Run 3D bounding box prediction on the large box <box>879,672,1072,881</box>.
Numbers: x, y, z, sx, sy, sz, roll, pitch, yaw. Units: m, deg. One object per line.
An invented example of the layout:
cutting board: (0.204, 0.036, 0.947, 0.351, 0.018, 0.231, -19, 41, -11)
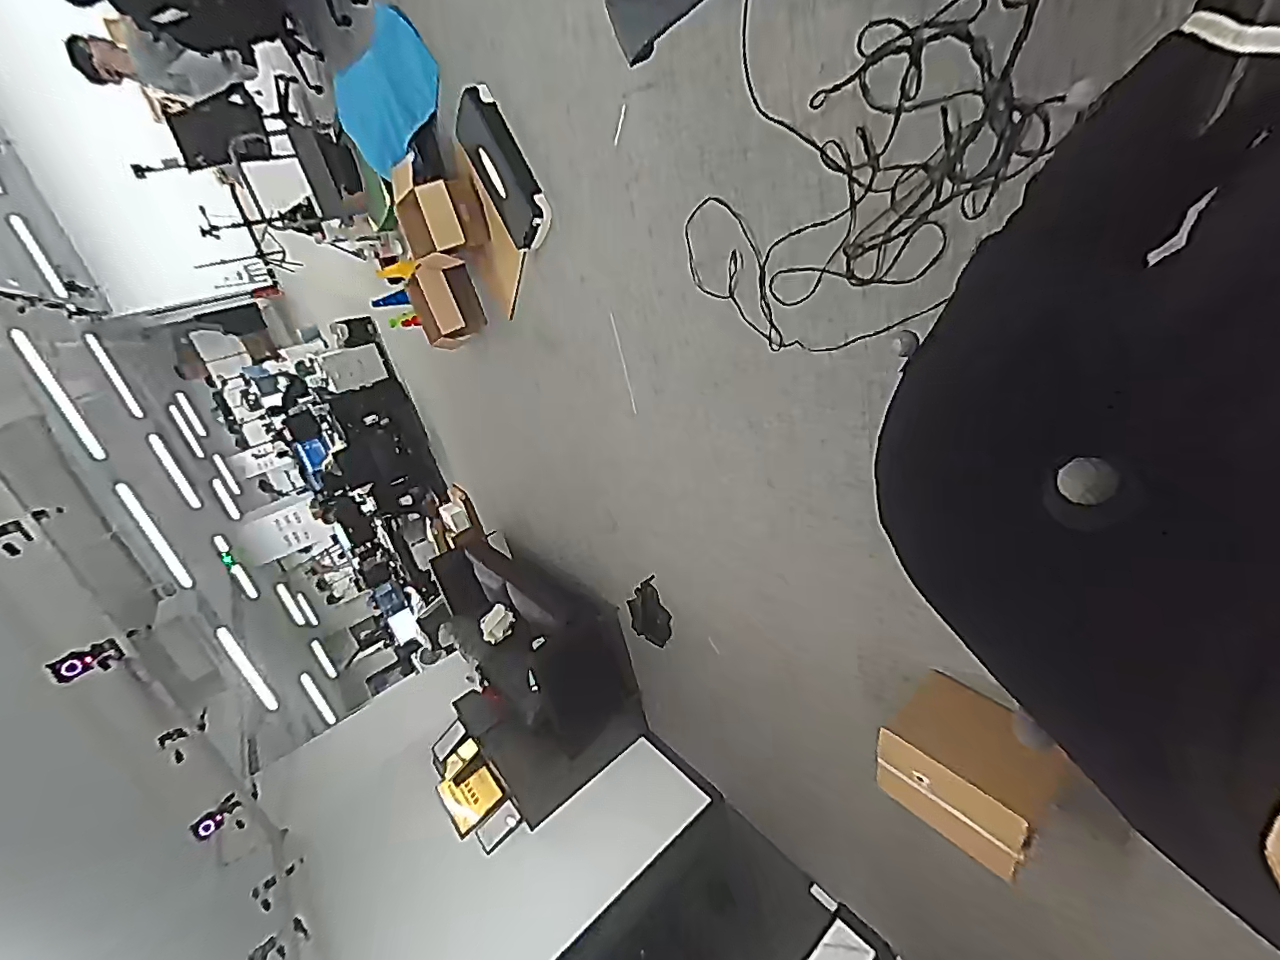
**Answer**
large box: (1.009, 0.880, 1.658, 0.408, 0.320, 0.320, 26, 134, 48)
